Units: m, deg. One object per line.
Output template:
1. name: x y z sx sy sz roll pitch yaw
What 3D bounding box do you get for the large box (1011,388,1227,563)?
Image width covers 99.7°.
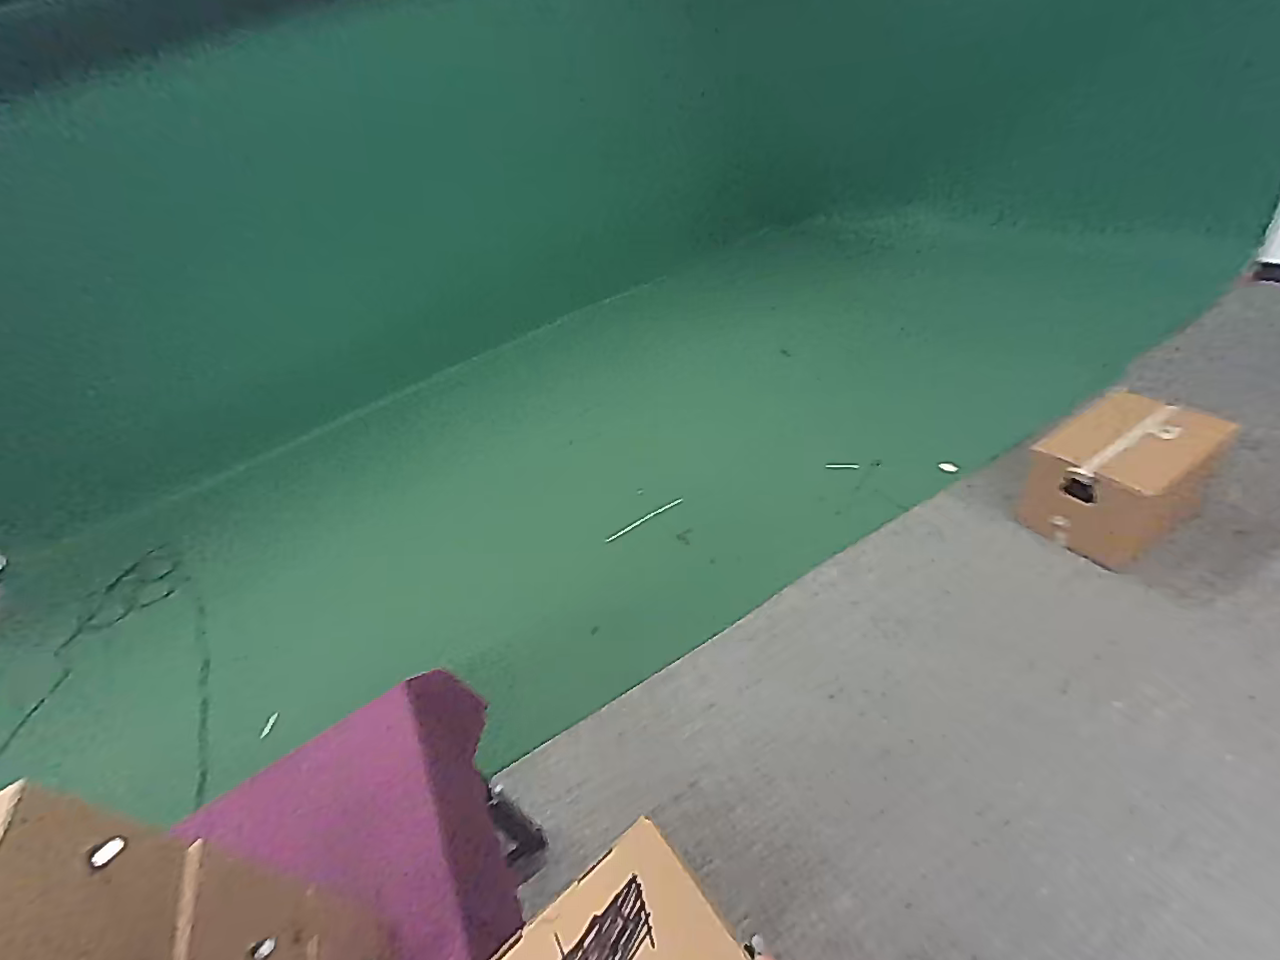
1. large box: 1.433 -0.022 1.653 0.408 0.320 0.320 -29 39 -14

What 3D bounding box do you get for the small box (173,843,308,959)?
1. small box: -0.438 0.491 0.500 0.179 0.176 0.168 -31 40 -13

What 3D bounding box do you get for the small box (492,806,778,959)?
1. small box: 0.018 0.368 0.364 0.168 0.176 0.179 -35 52 -16

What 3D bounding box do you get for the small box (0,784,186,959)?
1. small box: -0.483 0.376 0.394 0.168 0.176 0.179 -32 41 -13
